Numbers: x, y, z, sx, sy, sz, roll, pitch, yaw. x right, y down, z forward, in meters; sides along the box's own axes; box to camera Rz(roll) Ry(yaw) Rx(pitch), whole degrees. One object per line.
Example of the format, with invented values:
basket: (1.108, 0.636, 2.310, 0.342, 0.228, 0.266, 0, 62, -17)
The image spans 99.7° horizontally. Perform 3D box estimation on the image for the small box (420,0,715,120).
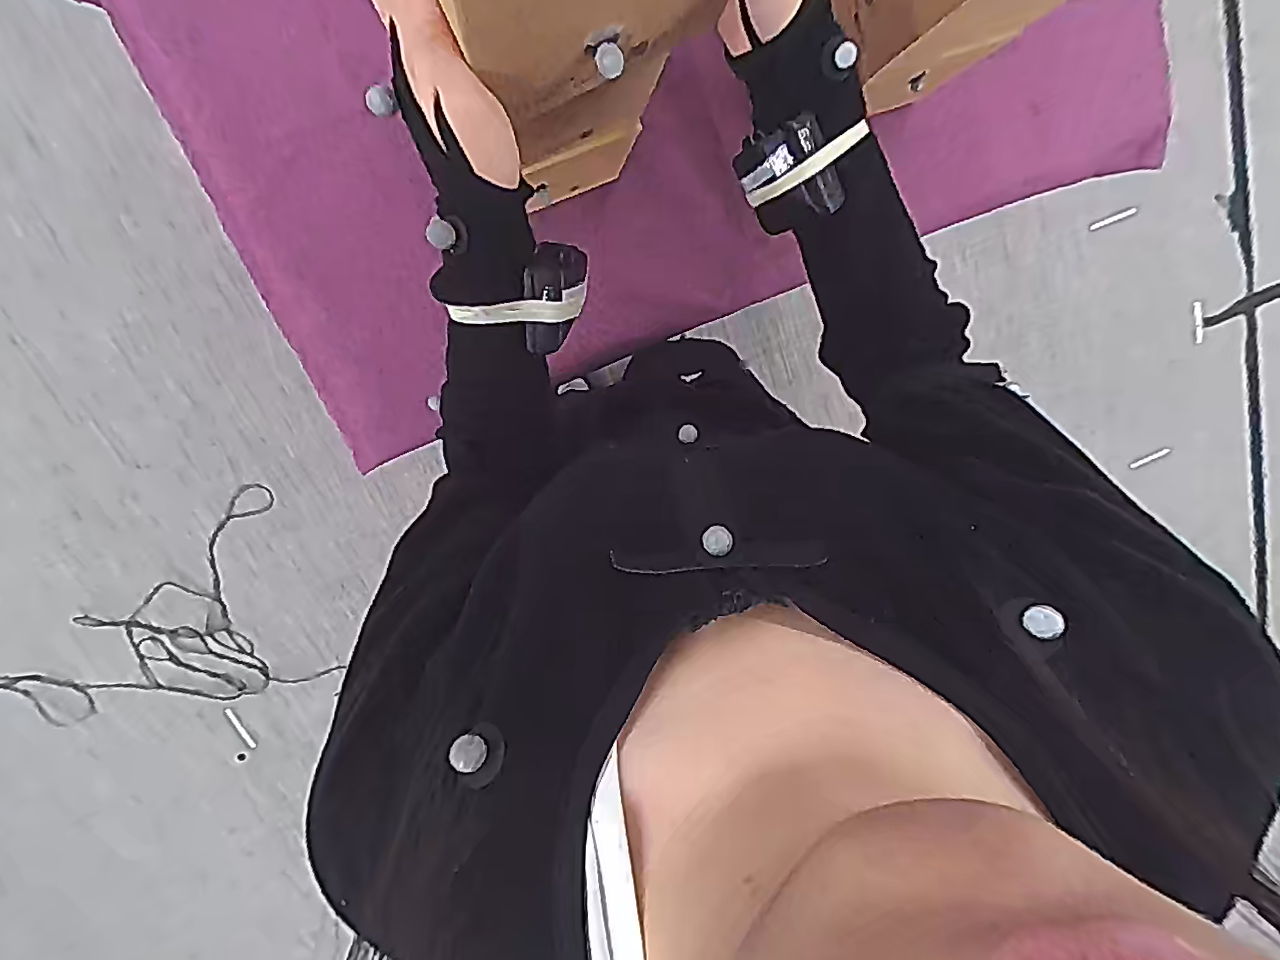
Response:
small box: (-0.049, -0.311, 0.238, 0.168, 0.176, 0.179, -28, 105, -2)

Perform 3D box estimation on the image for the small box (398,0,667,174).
small box: (-0.091, -0.365, 0.397, 0.168, 0.176, 0.179, -25, 106, -3)

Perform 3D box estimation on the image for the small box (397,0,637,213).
small box: (-0.117, -0.396, 0.555, 0.168, 0.176, 0.179, -24, 106, -4)

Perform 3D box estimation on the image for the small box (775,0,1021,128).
small box: (0.265, -0.522, 0.592, 0.179, 0.176, 0.168, -22, 107, -5)
